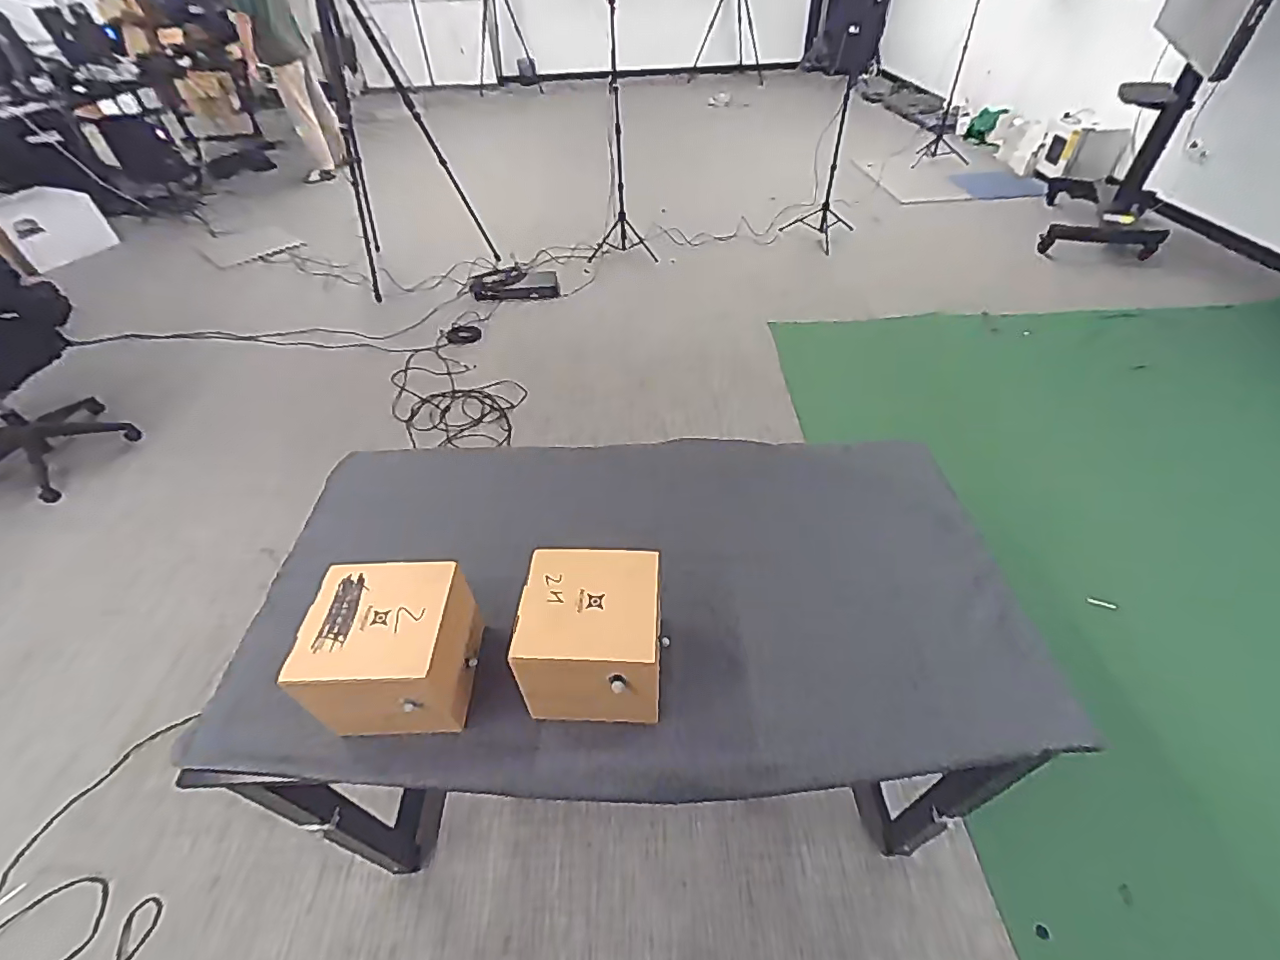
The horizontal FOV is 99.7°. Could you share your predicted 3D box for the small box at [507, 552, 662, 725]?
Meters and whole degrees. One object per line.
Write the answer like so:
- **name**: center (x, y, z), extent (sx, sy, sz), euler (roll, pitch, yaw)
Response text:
- **small box**: center (-0.060, 0.216, 0.735), extent (0.179, 0.176, 0.168), euler (0, 43, 5)
